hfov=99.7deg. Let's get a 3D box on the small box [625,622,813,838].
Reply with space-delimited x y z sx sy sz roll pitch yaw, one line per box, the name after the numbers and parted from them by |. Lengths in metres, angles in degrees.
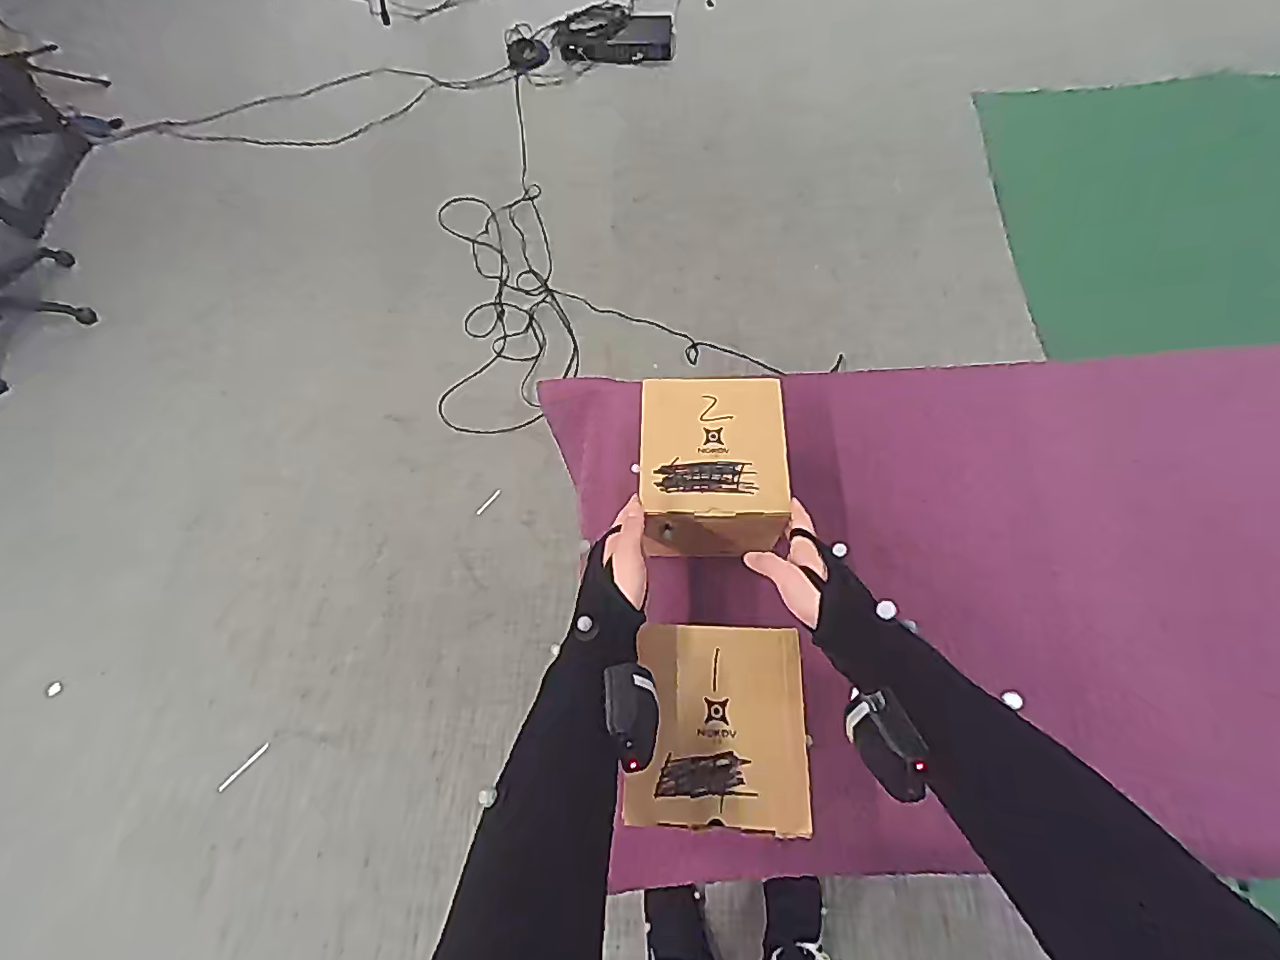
0.080 0.256 0.575 0.168 0.176 0.179 1 66 5 | small box
